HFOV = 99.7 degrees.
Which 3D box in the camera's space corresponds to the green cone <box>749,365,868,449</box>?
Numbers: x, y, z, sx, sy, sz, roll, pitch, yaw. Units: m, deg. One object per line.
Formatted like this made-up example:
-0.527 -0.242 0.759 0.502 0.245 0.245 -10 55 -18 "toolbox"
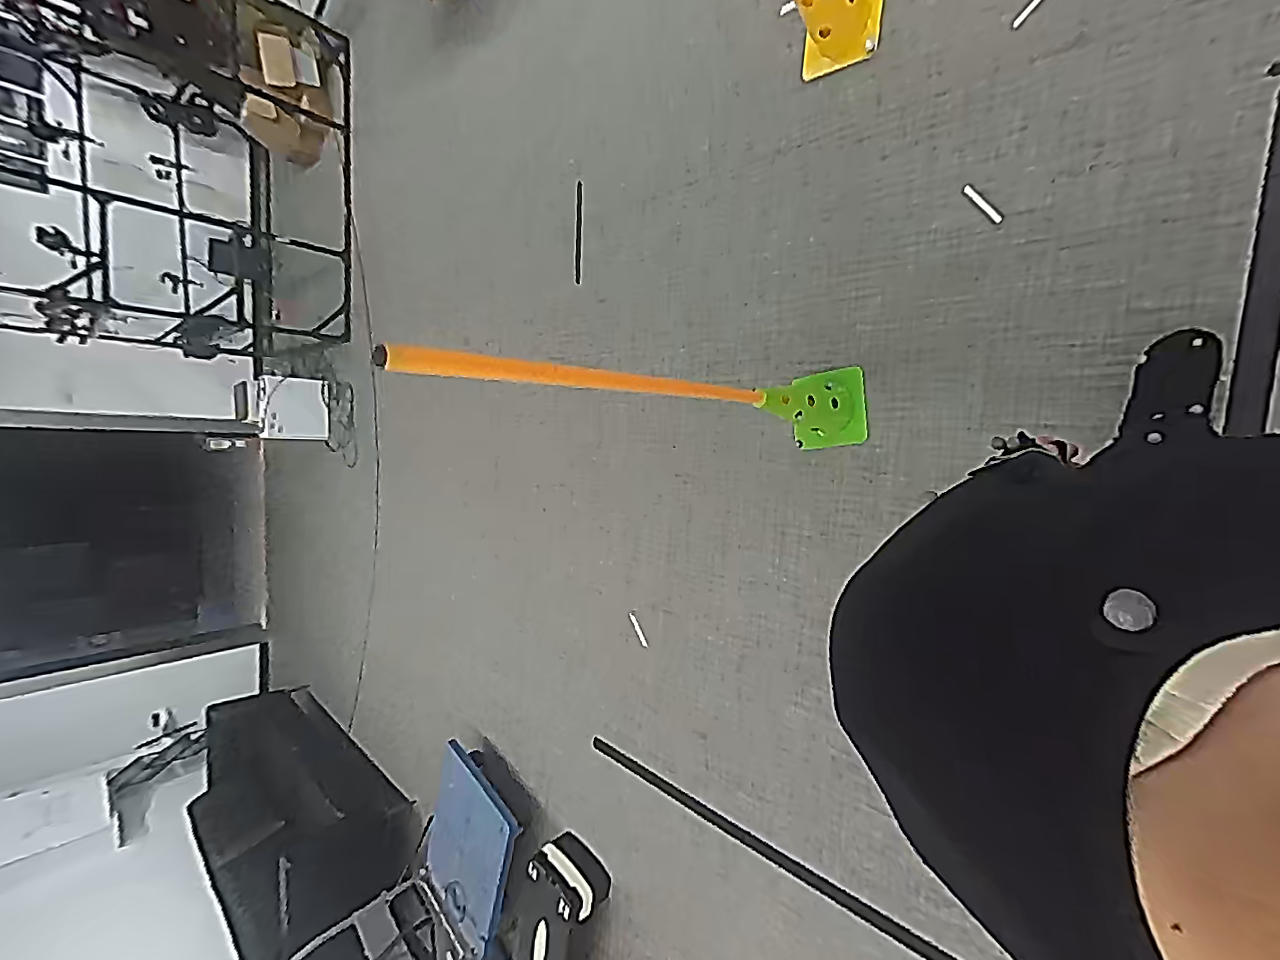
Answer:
0.381 -0.190 1.307 0.200 0.368 0.202 -7 85 43 "green cone"
